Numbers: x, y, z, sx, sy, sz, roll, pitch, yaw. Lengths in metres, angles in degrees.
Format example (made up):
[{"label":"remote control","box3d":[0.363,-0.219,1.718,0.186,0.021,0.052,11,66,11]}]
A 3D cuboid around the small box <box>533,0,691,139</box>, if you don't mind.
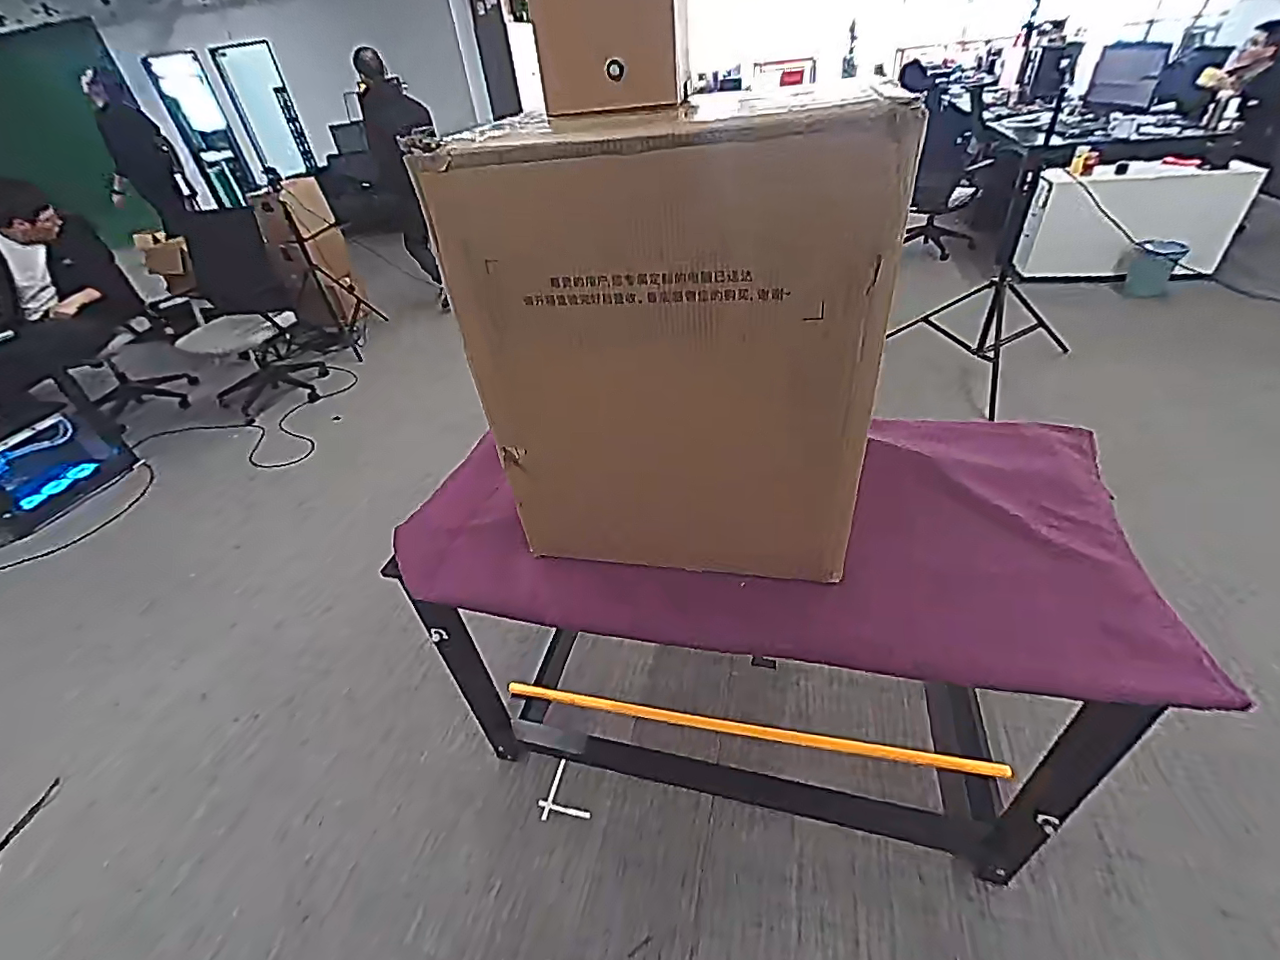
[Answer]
[{"label":"small box","box3d":[-0.031,-0.569,0.715,0.179,0.176,0.168,3,39,11]}]
